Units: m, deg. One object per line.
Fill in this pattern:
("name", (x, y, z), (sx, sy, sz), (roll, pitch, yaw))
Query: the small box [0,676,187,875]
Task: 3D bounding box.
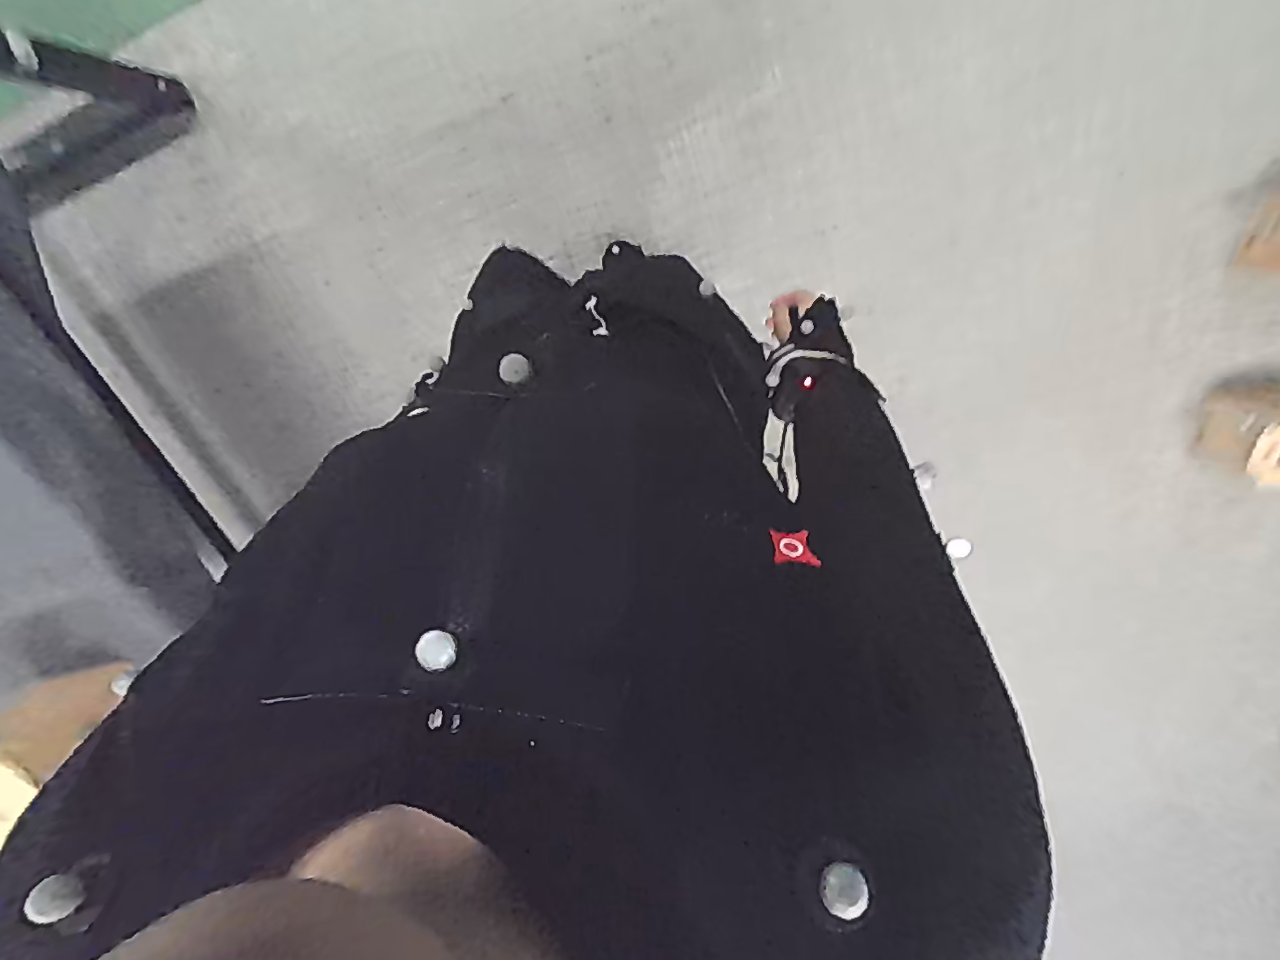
("small box", (-0.779, 0.393, 0.737), (0.179, 0.176, 0.168), (-15, 112, 11))
